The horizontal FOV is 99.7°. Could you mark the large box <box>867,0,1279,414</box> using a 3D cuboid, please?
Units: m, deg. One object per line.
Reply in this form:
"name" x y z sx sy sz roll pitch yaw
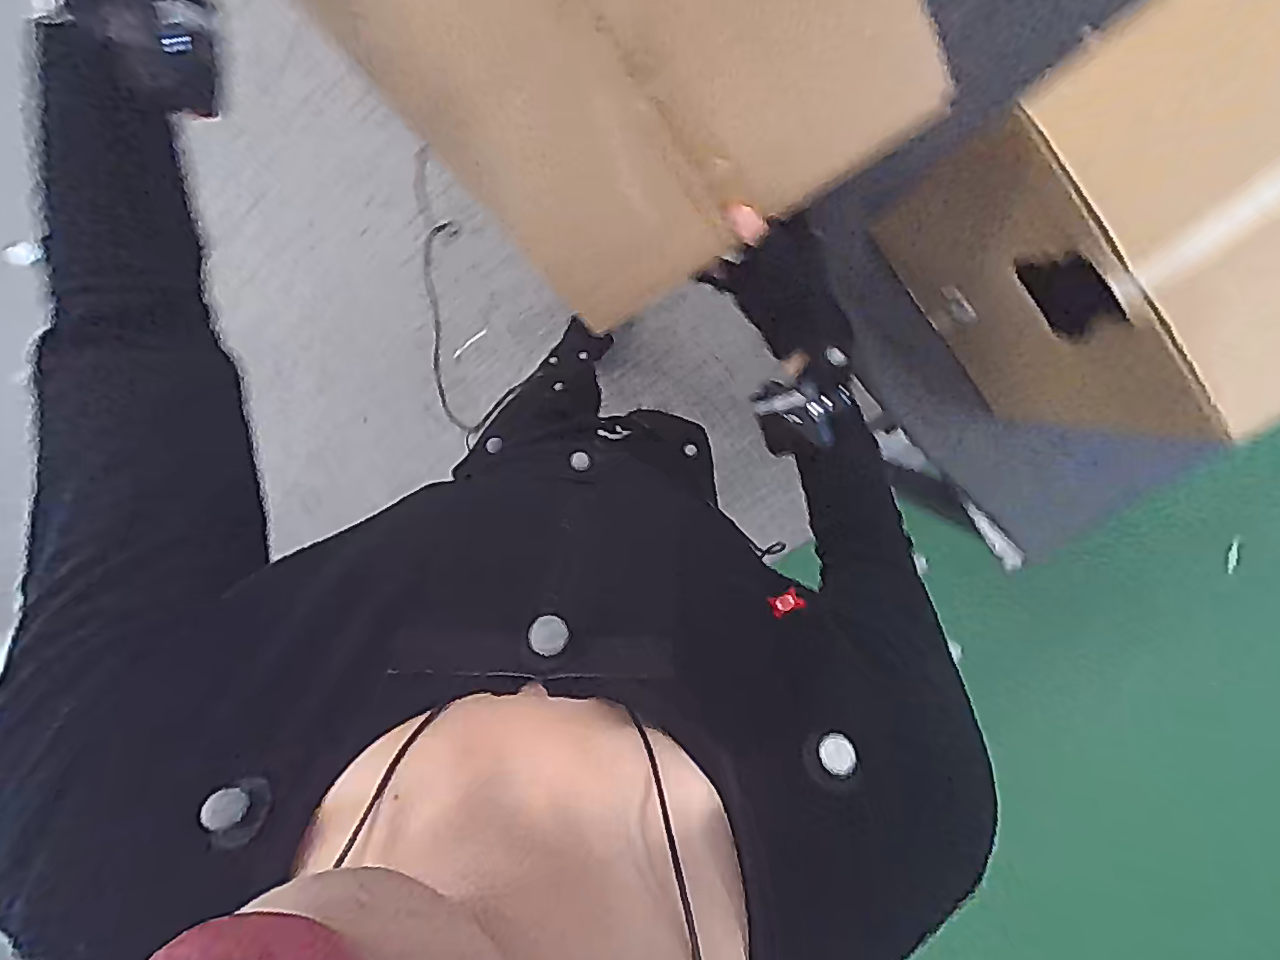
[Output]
"large box" 0.519 -0.305 0.523 0.408 0.320 0.320 -38 95 7
